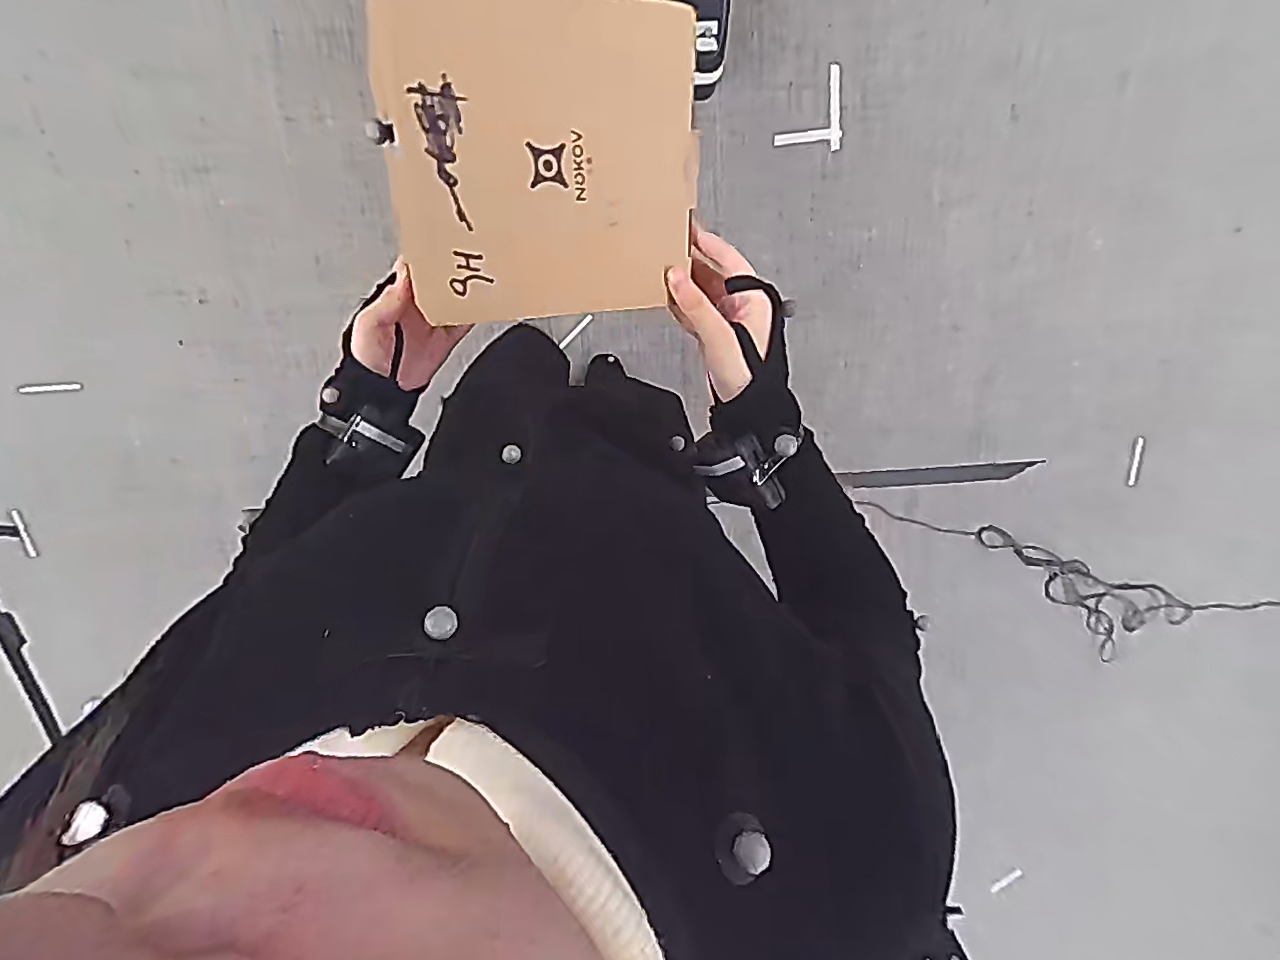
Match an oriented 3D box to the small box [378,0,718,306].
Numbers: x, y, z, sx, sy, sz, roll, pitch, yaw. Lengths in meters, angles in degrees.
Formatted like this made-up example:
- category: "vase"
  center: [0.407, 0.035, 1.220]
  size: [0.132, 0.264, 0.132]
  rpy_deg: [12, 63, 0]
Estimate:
- category: "small box"
  center: [-0.068, -0.215, 0.368]
  size: [0.179, 0.176, 0.168]
  rpy_deg: [-11, 115, -22]
